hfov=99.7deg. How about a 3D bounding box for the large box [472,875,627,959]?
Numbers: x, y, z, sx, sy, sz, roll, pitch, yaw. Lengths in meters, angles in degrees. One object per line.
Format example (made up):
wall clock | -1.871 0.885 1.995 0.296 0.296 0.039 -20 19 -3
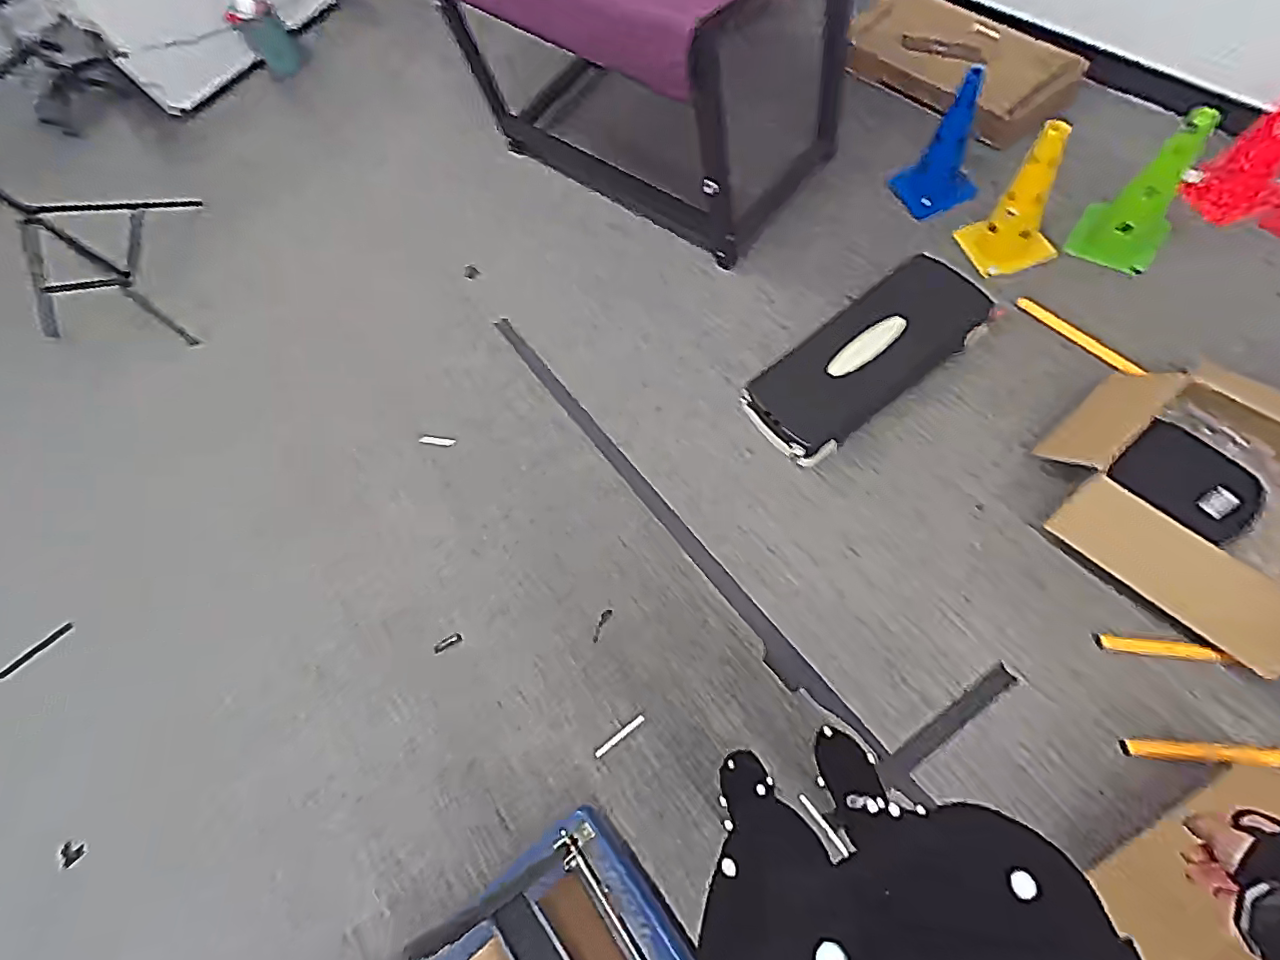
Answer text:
large box | -0.157 0.982 0.883 0.320 0.320 0.408 -41 64 -4
